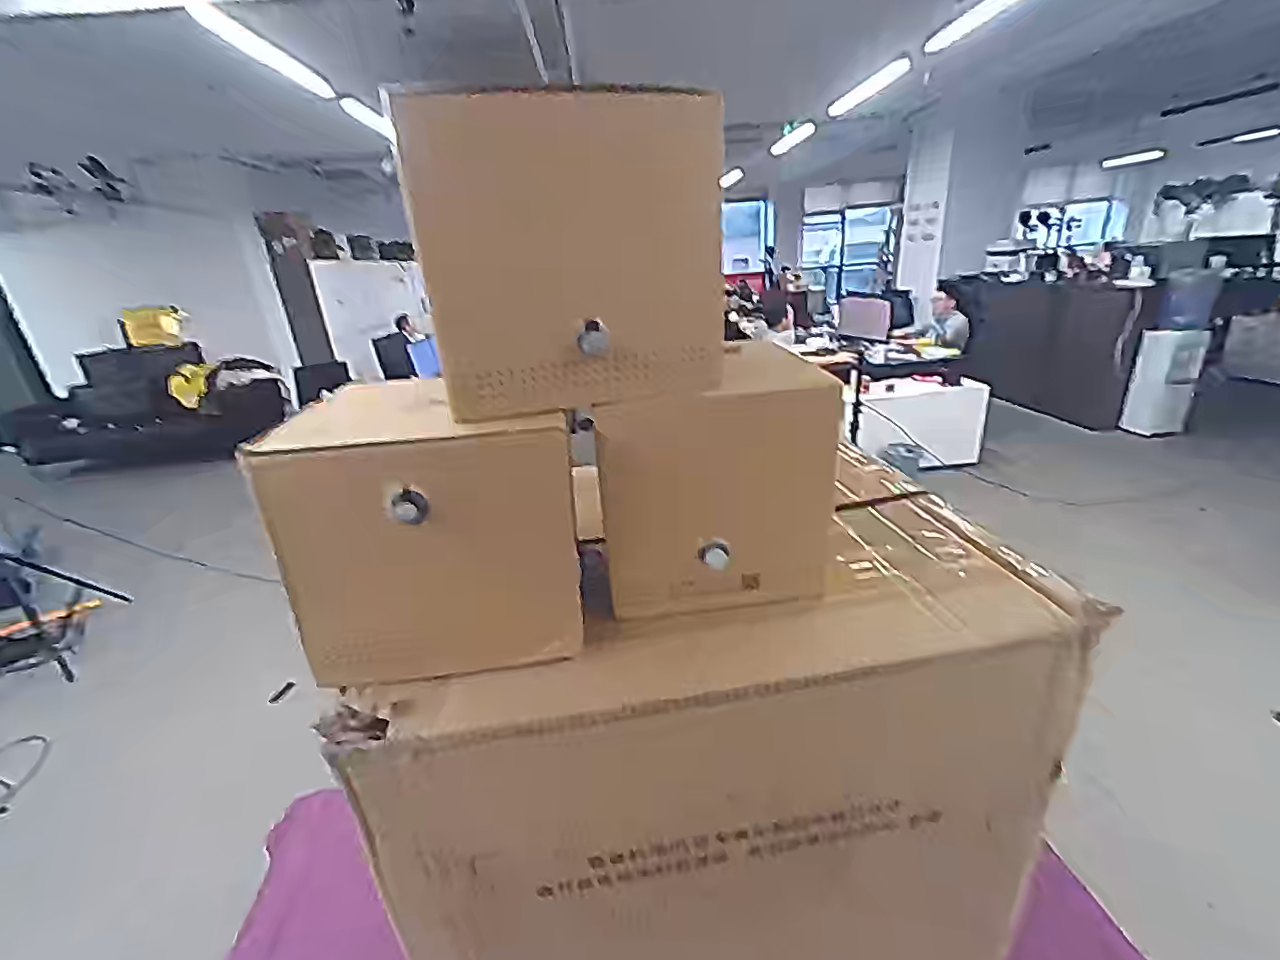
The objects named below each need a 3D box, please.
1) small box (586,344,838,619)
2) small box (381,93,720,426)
[{"bbox_3d":[0.046,-0.009,0.452,0.168,0.176,0.179,-6,25,-3],"label":"small box"},{"bbox_3d":[-0.057,-0.147,0.376,0.179,0.176,0.168,-10,24,-14],"label":"small box"}]
